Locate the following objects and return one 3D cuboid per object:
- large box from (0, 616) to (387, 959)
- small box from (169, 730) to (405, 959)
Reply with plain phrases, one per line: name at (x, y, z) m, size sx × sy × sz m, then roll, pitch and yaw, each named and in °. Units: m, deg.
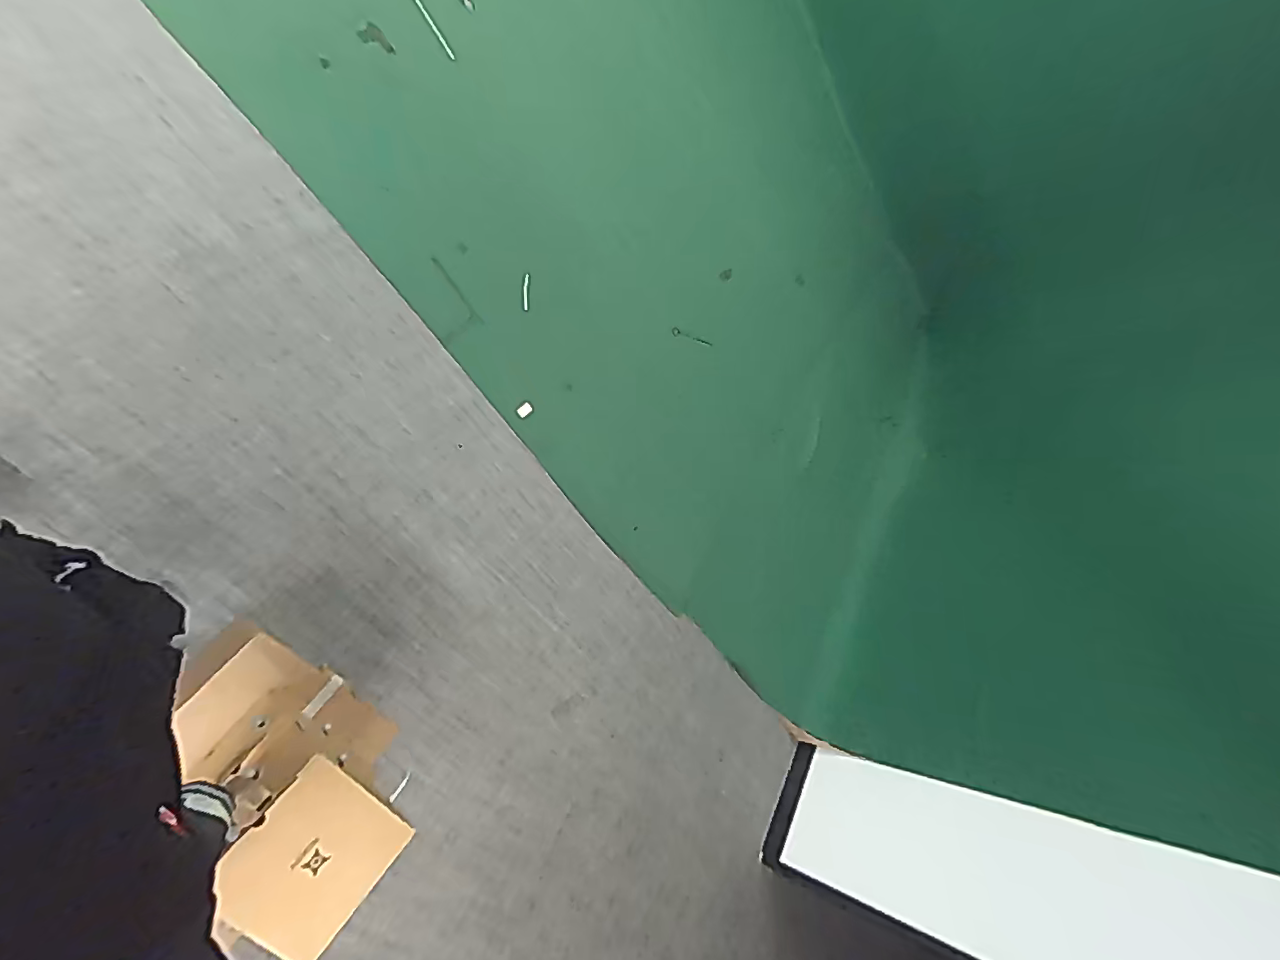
large box at (-0.746, 0.506, 0.954) m, size 0.320 × 0.320 × 0.408 m, roll 51°, pitch 56°, yaw -24°
small box at (-0.443, 0.448, 0.685) m, size 0.168 × 0.176 × 0.179 m, roll -49°, pitch 116°, yaw -35°
